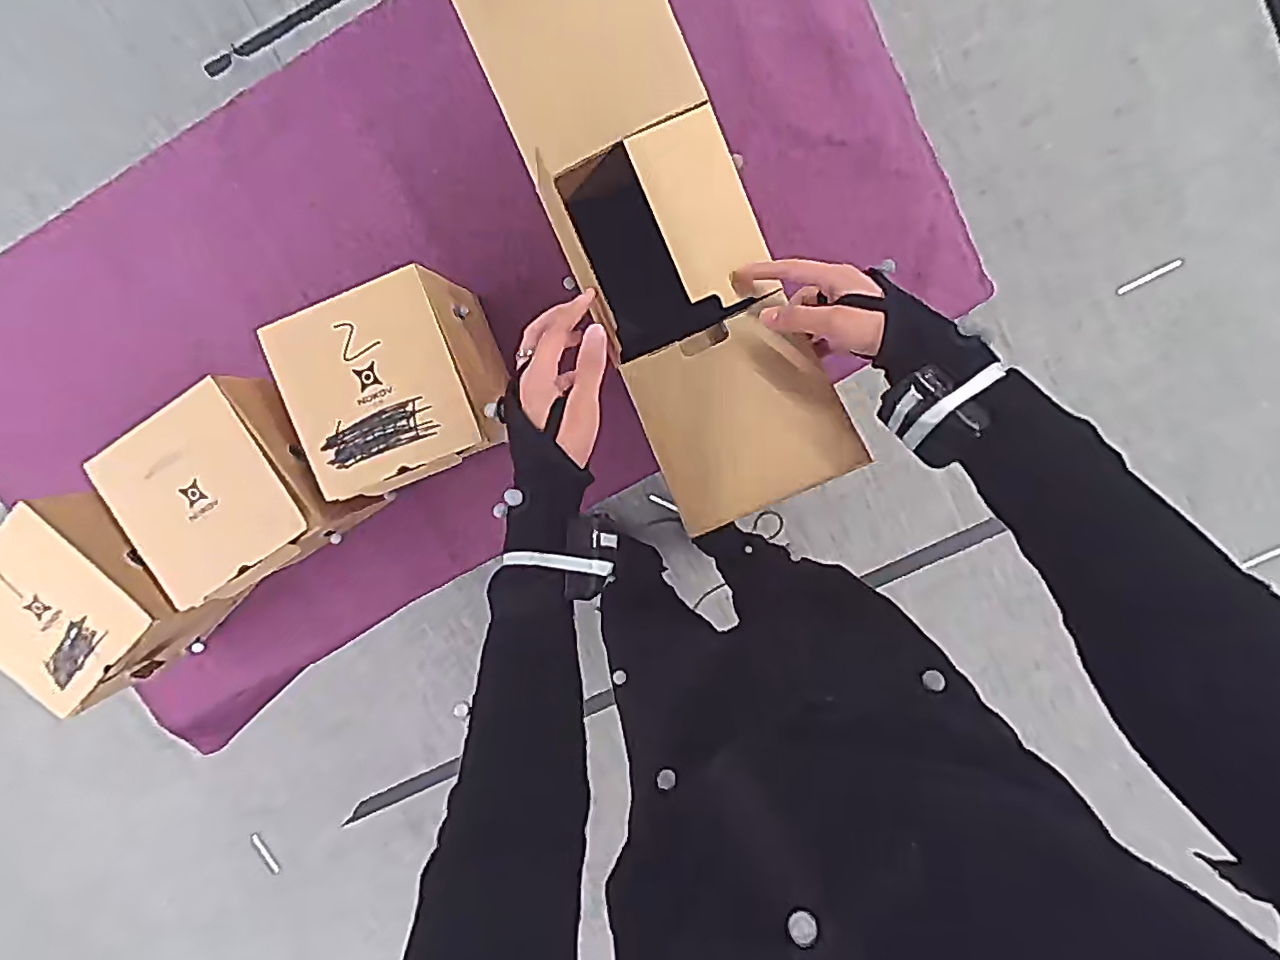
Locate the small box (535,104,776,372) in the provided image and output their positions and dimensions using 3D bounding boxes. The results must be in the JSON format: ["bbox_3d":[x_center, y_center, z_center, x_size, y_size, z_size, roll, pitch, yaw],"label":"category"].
[{"bbox_3d":[0.017,-0.222,0.553,0.168,0.176,0.179,-23,97,7],"label":"small box"}]
